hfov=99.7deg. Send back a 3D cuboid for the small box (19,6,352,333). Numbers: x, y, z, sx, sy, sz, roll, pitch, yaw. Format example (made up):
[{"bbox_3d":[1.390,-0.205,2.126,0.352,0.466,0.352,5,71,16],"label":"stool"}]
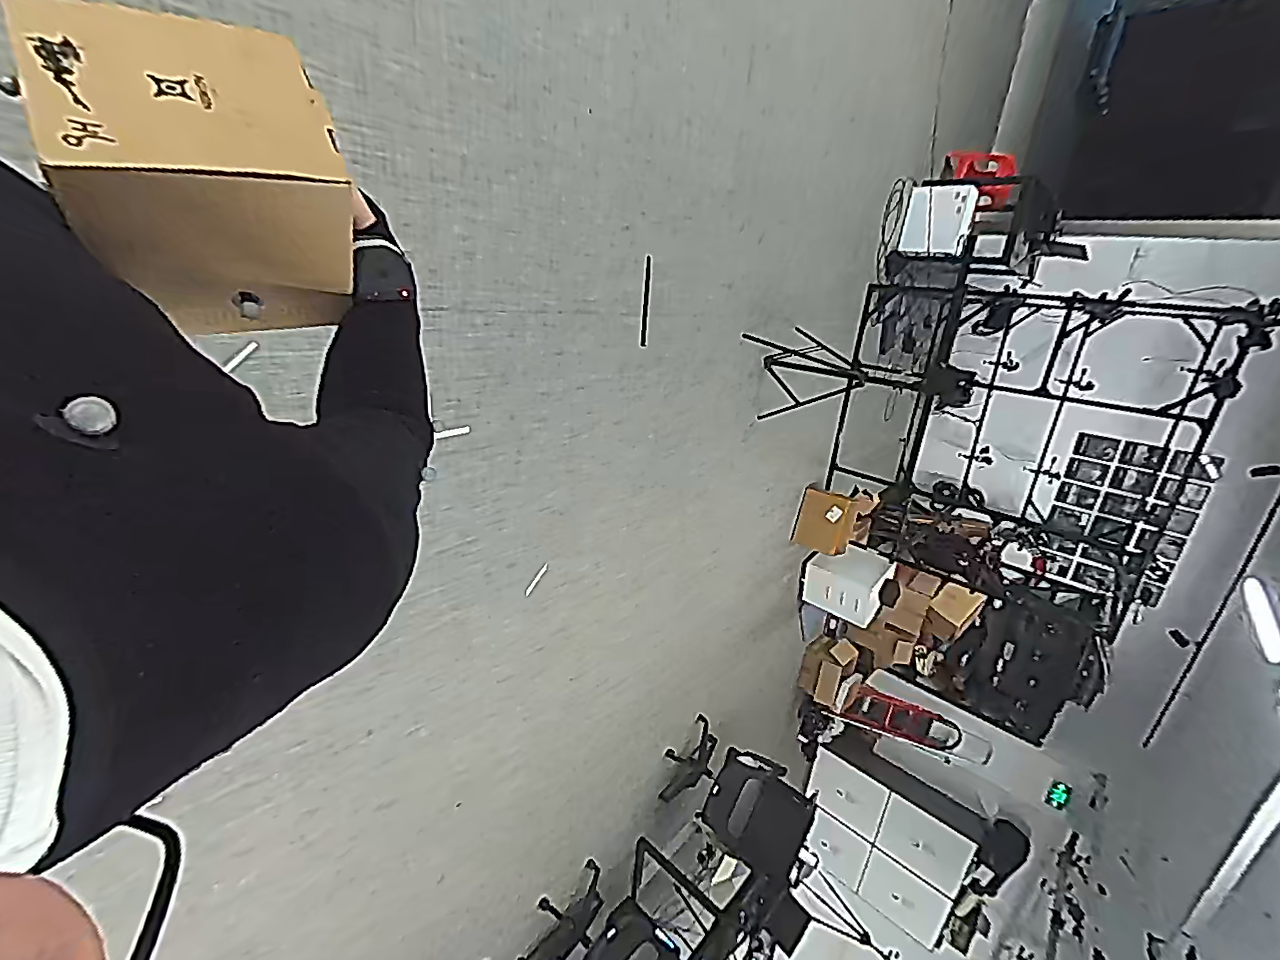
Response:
[{"bbox_3d":[-0.372,-0.250,0.474,0.179,0.168,0.176,-18,163,-34],"label":"small box"}]
